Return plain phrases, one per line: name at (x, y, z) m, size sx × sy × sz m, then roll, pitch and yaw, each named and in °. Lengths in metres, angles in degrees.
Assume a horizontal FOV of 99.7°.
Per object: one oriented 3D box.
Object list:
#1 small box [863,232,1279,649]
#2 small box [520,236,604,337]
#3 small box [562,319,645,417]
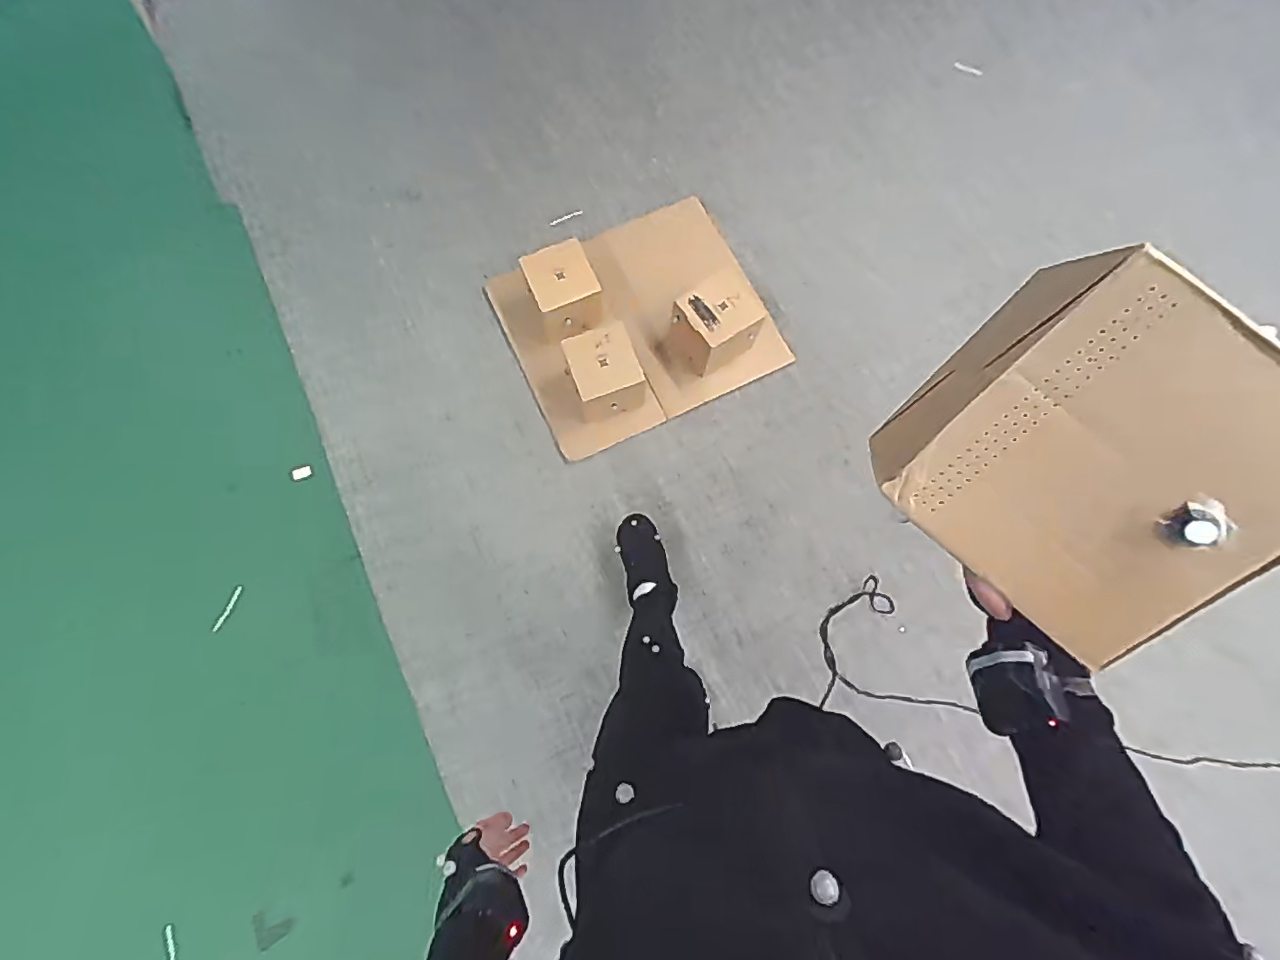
small box at (0.279, -0.033, 0.361) m, size 0.176 × 0.168 × 0.179 m, roll 43°, pitch 115°, yaw 6°
small box at (-0.203, -0.512, 1.460) m, size 0.168 × 0.176 × 0.179 m, roll -23°, pitch 77°, yaw -6°
small box at (-0.090, -0.279, 1.401) m, size 0.168 × 0.176 × 0.179 m, roll -19°, pitch 77°, yaw -6°
